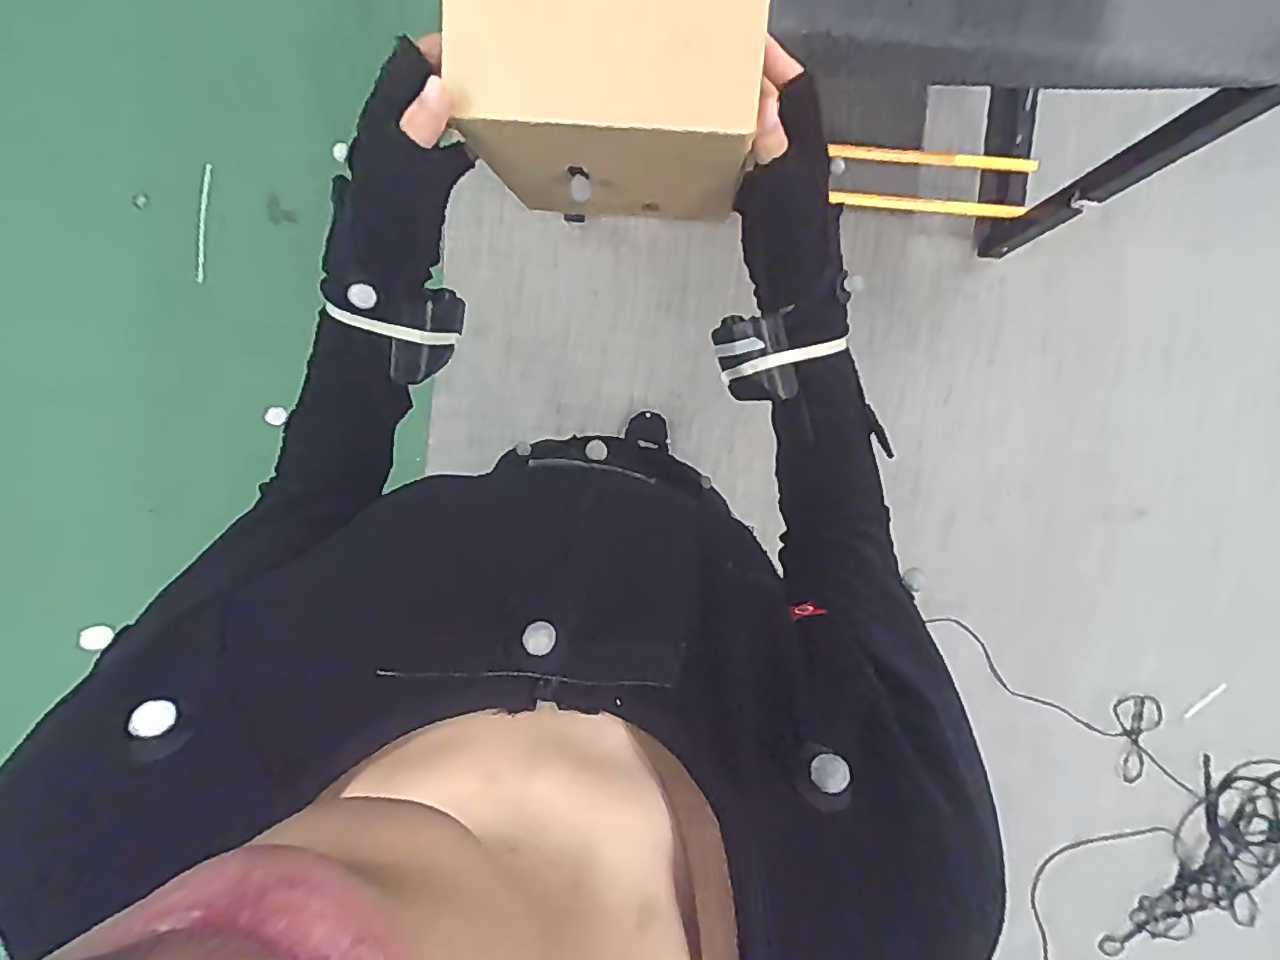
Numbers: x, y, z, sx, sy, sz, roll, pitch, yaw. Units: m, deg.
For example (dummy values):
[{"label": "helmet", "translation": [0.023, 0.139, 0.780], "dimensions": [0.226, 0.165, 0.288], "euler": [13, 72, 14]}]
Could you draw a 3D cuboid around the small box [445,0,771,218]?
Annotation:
[{"label": "small box", "translation": [-0.007, -0.281, 0.340], "dimensions": [0.168, 0.176, 0.179], "euler": [5, 100, 3]}]
